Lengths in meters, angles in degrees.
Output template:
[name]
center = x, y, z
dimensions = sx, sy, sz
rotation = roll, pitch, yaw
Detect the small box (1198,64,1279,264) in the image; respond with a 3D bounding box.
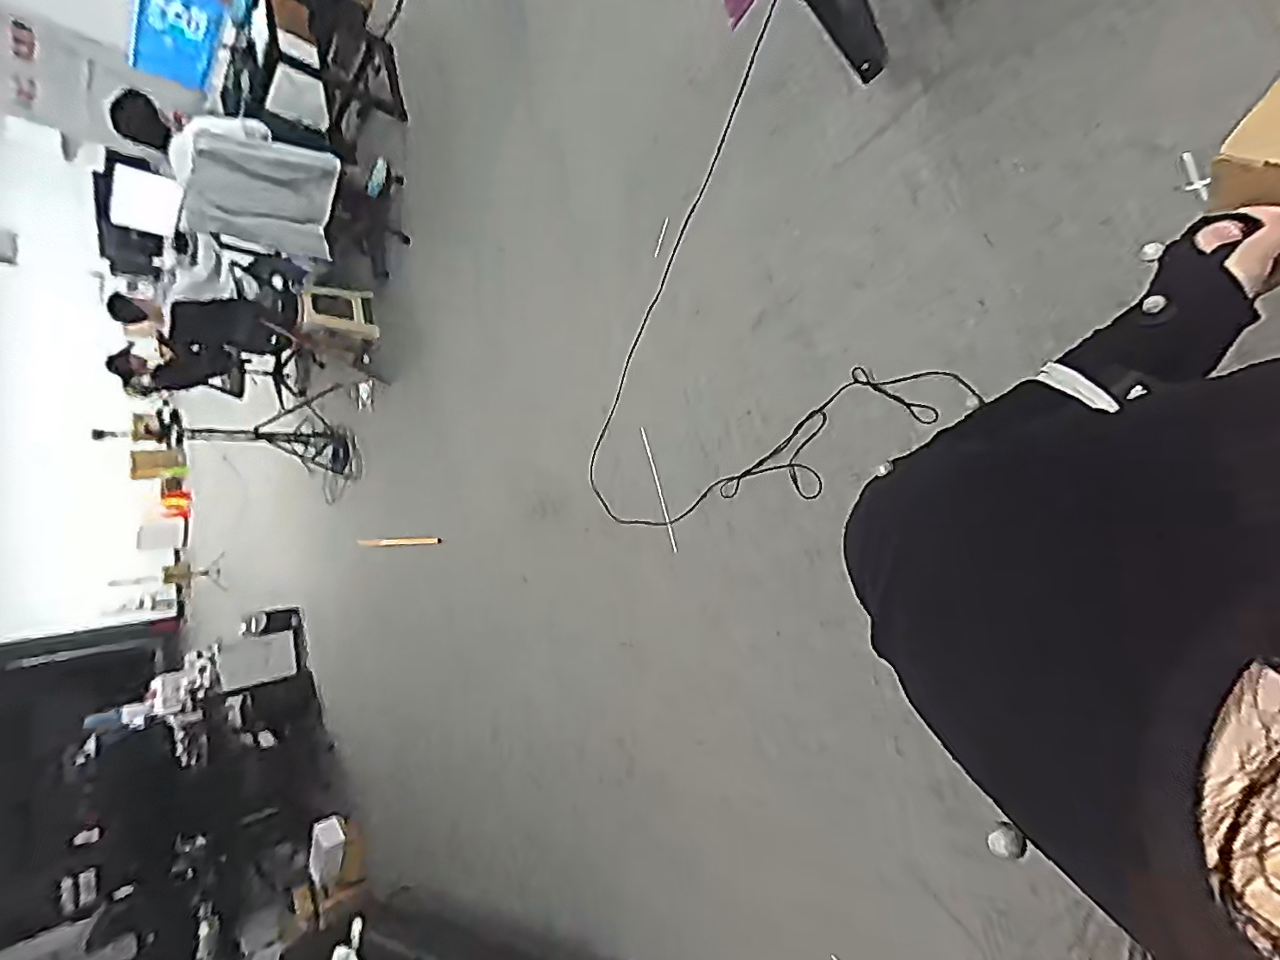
[small box]
center = 0.567, -0.255, 0.390
dimensions = 0.168, 0.176, 0.179
rotation = 48, 115, 38
